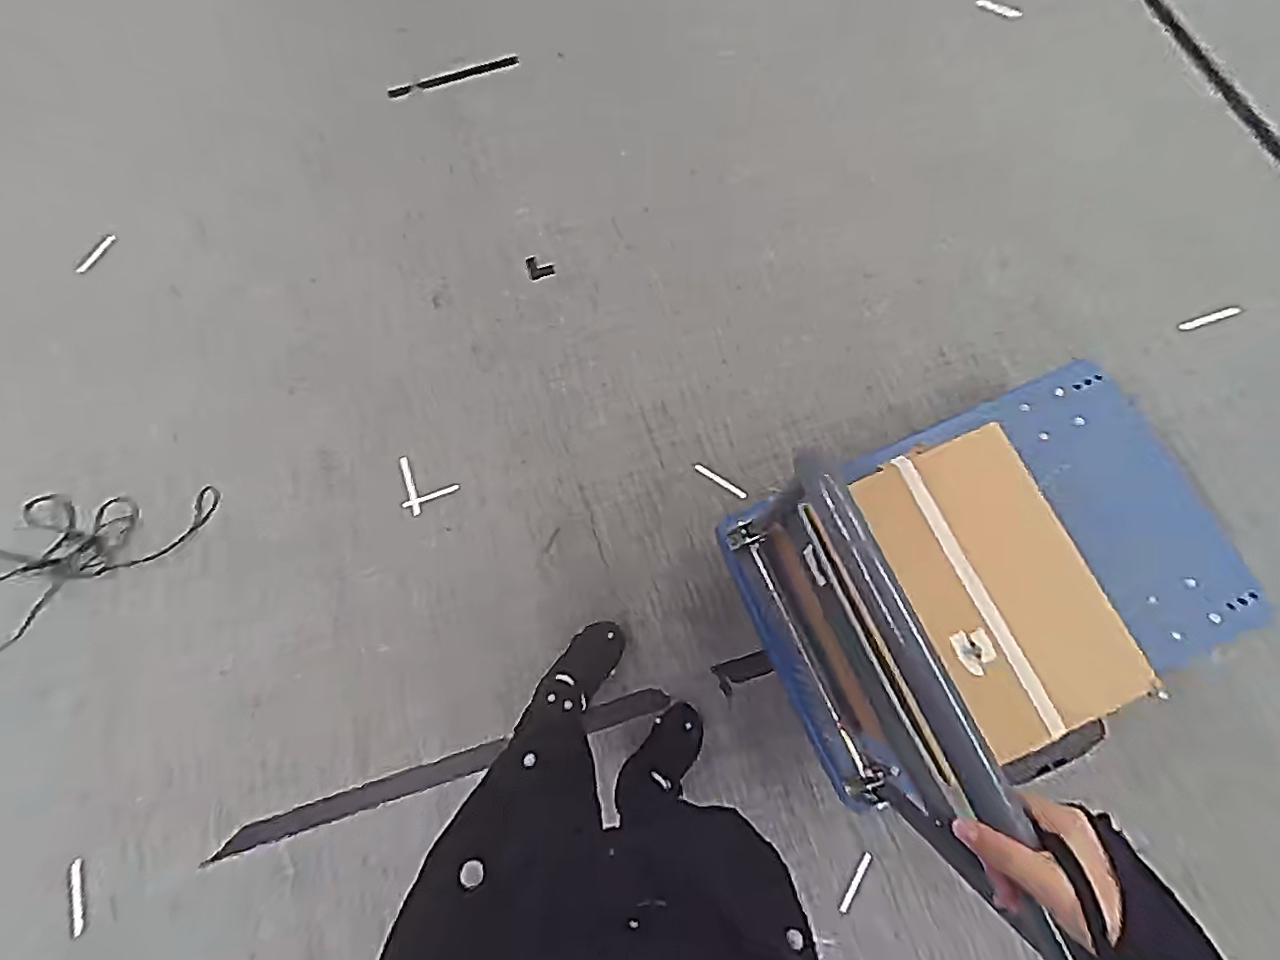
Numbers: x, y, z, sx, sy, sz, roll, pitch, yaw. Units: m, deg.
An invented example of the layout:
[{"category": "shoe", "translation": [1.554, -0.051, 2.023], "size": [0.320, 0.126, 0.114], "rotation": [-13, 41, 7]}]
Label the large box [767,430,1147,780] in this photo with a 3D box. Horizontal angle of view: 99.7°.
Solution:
[{"category": "large box", "translation": [0.462, 0.190, 0.898], "size": [0.320, 0.320, 0.408], "rotation": [-24, 77, -2]}]
